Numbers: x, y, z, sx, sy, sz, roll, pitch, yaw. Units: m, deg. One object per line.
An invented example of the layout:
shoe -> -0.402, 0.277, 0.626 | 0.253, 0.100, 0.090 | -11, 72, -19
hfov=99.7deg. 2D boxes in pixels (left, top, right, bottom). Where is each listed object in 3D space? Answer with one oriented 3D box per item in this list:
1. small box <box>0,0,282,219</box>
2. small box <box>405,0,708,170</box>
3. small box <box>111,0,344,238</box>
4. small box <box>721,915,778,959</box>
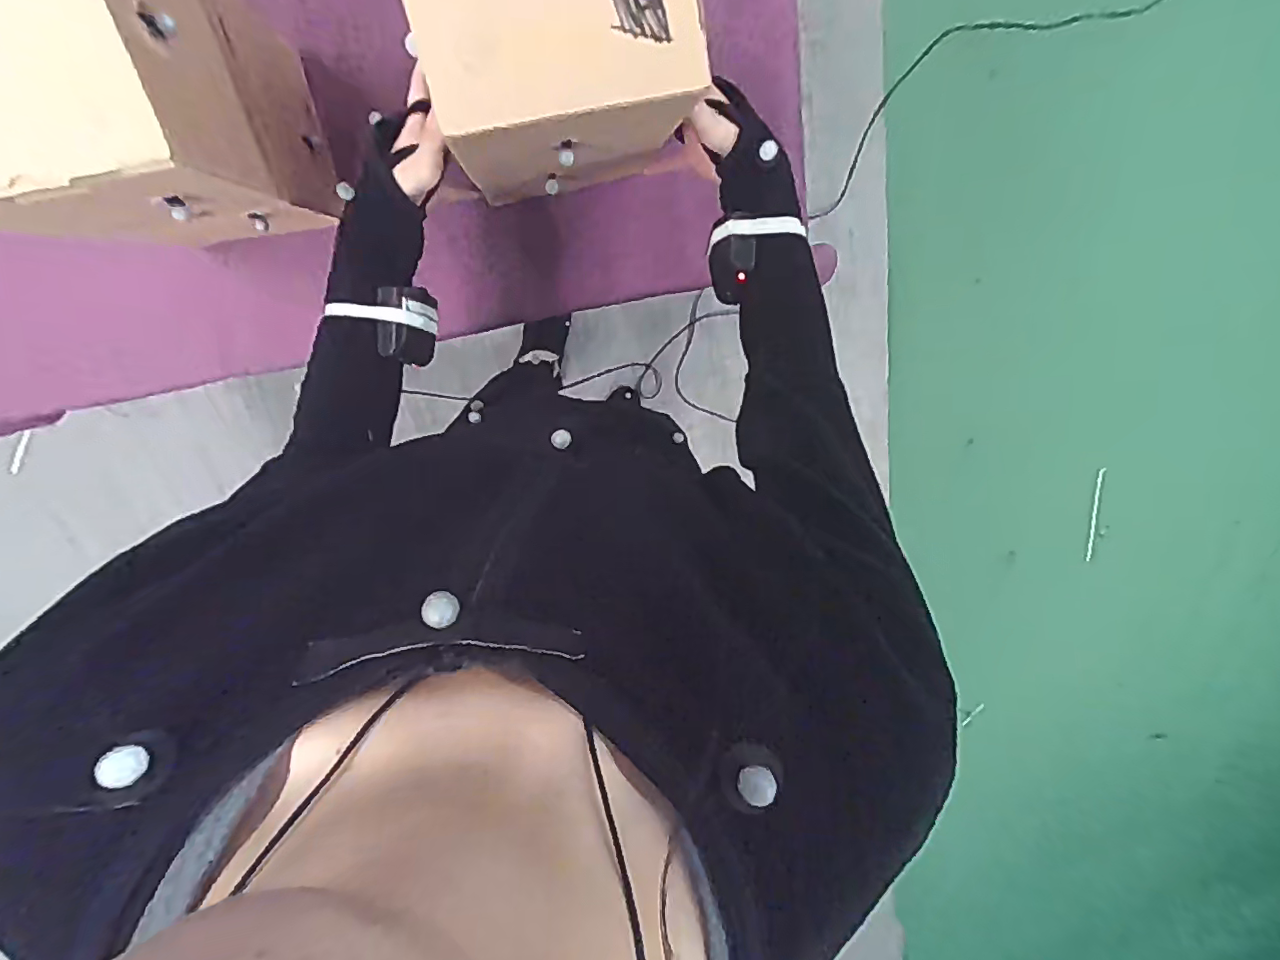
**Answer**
small box -> -0.379, -0.280, 0.354 | 0.168, 0.176, 0.179 | -14, 110, -7
small box -> -0.067, -0.338, 0.383 | 0.179, 0.176, 0.168 | -13, 111, -4
small box -> -0.414, -0.331, 0.503 | 0.179, 0.176, 0.168 | -11, 110, -7
small box -> 0.399, 1.725, 1.947 | 0.168, 0.176, 0.179 | -10, 110, -7
